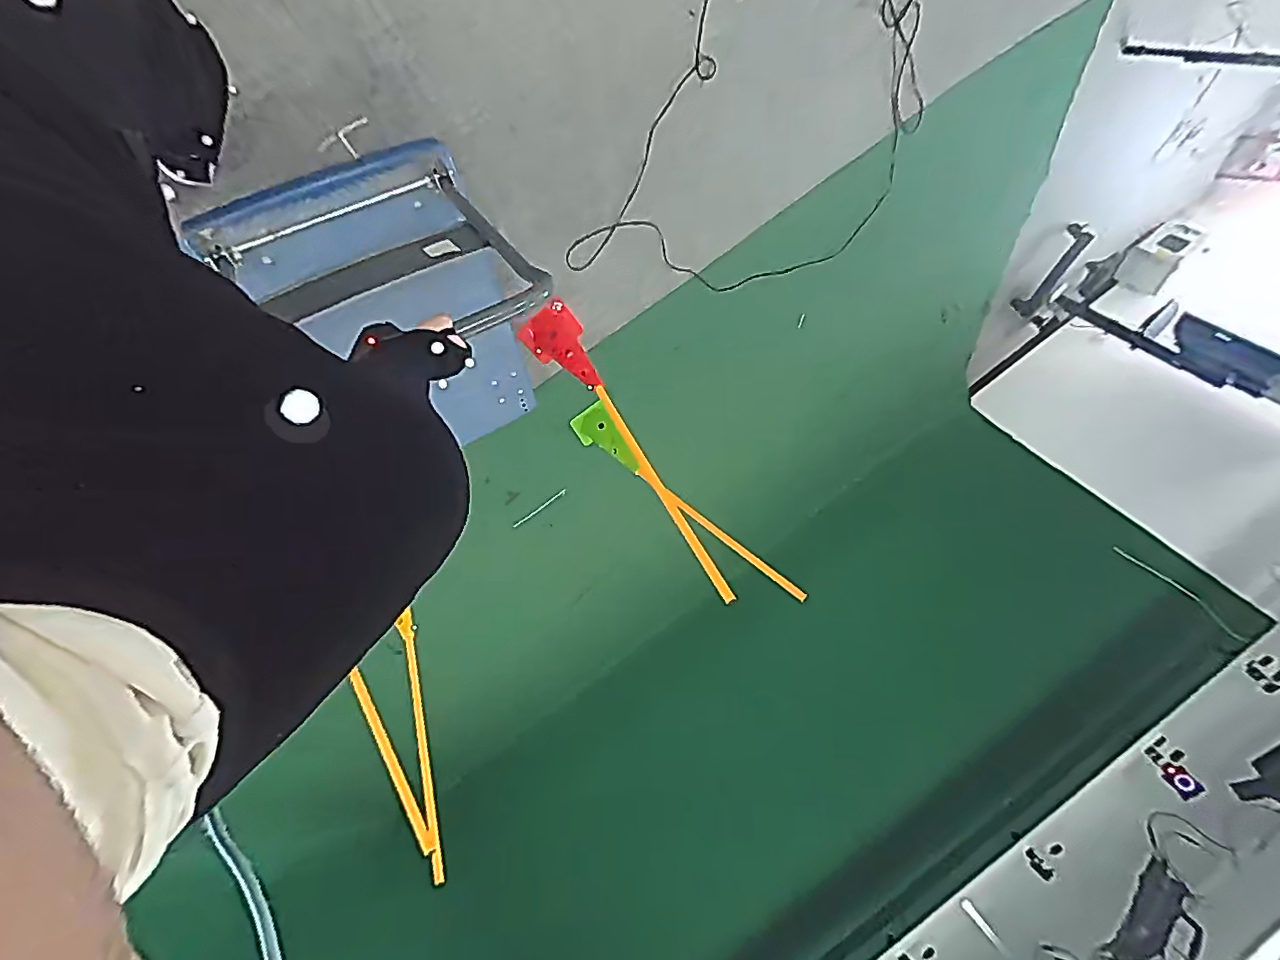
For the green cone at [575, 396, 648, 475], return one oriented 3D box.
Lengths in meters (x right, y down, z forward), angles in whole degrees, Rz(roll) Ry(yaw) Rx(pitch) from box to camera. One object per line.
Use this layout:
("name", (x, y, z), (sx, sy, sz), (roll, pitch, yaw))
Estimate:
("green cone", (-0.087, -0.154, 2.298), (0.200, 0.368, 0.202), (-37, 149, -4))
